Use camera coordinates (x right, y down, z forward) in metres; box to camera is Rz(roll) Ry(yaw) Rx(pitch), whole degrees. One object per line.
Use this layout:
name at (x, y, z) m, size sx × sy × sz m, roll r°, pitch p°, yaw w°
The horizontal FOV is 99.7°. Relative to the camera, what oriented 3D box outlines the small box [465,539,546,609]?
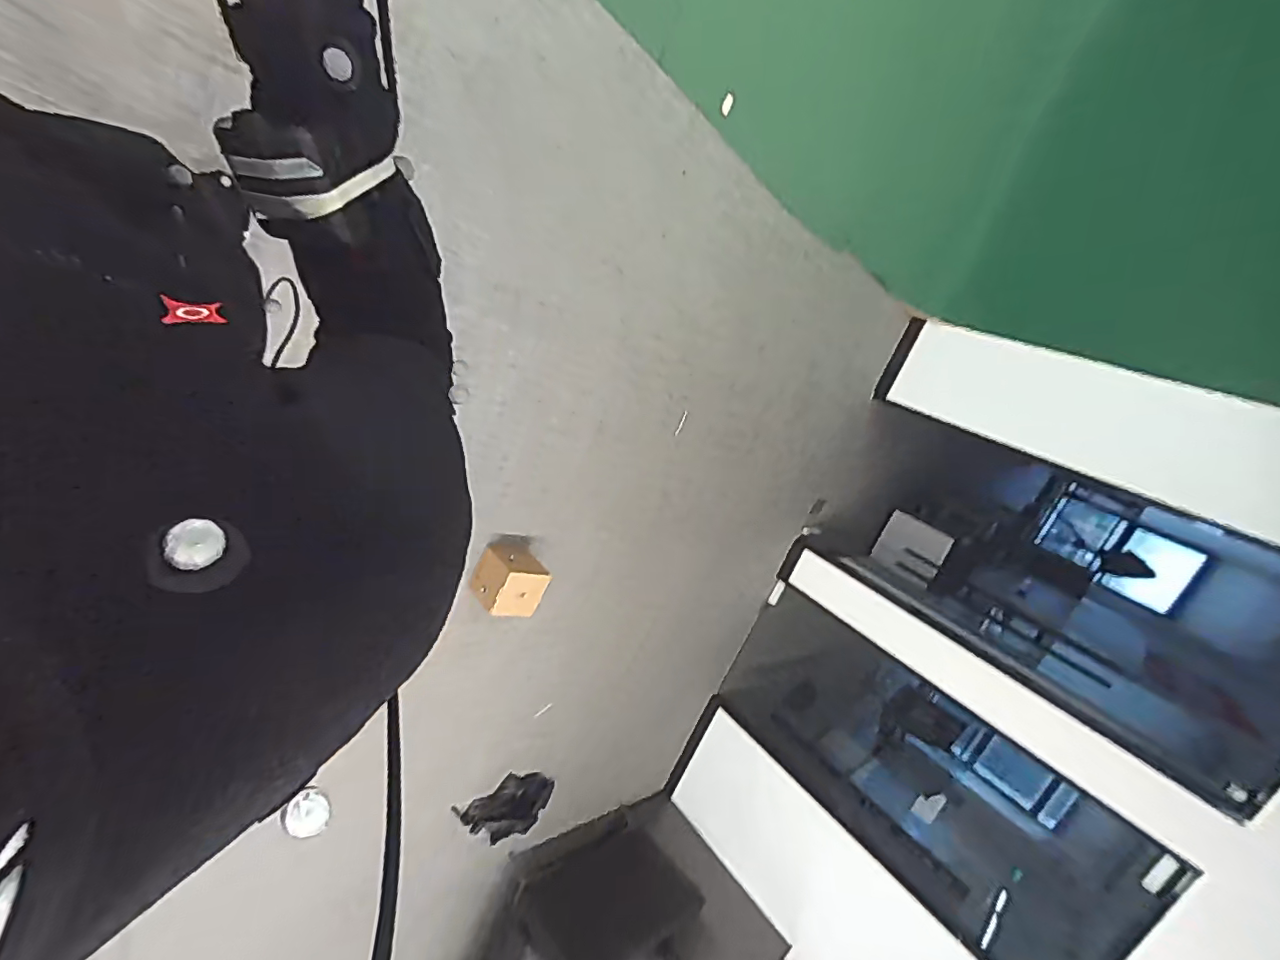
small box at (-0.452, 0.313, 1.801) m, size 0.179 × 0.176 × 0.168 m, roll 15°, pitch 107°, yaw -50°
